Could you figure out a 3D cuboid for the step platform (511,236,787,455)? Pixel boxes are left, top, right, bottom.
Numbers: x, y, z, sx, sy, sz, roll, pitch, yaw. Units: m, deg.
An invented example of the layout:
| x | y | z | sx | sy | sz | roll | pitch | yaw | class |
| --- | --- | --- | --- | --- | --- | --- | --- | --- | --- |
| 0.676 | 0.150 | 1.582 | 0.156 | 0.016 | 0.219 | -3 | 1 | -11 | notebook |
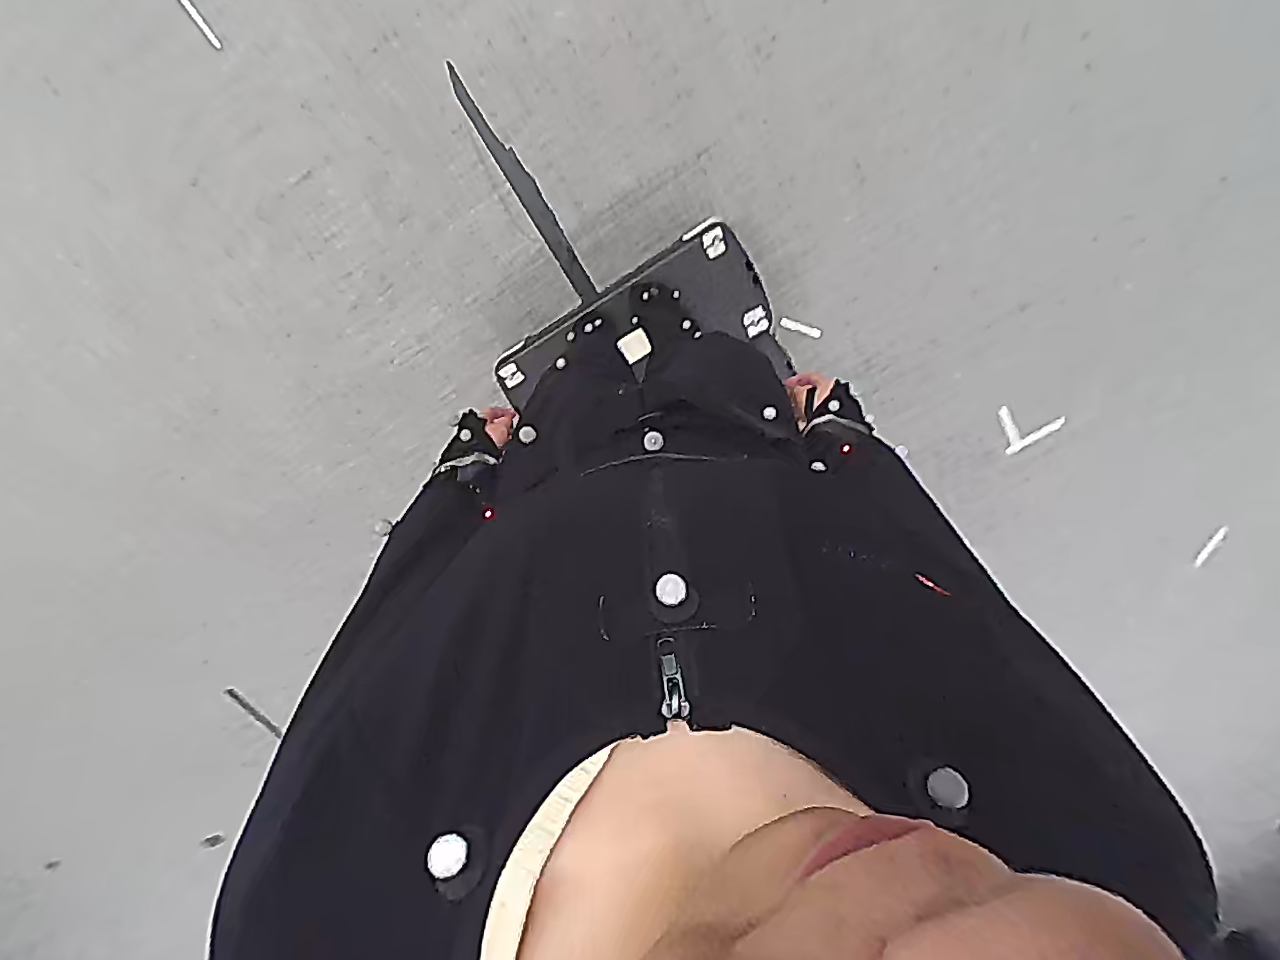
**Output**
| x | y | z | sx | sy | sz | roll | pitch | yaw | class |
| --- | --- | --- | --- | --- | --- | --- | --- | --- | --- |
| 0.017 | -0.332 | 1.379 | 0.684 | 0.204 | 0.286 | -26 | 111 | 8 | step platform |
